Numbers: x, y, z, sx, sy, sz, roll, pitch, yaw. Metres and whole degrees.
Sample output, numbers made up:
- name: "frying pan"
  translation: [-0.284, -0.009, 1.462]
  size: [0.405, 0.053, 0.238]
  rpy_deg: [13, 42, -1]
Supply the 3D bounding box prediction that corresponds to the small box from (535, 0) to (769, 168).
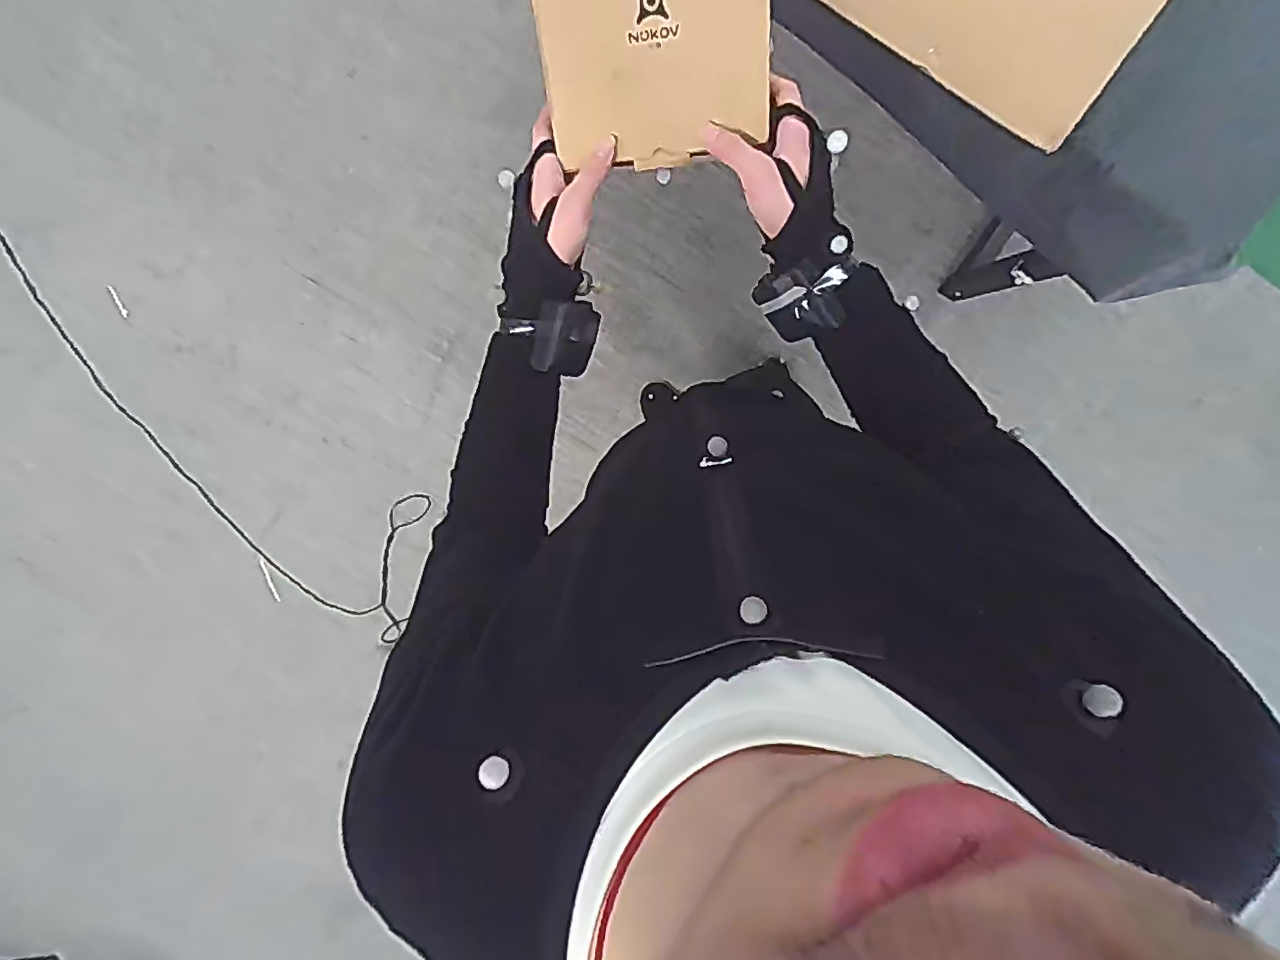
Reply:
- name: "small box"
  translation: [0.014, -0.373, 0.452]
  size: [0.168, 0.176, 0.179]
  rpy_deg: [-6, 118, 8]
